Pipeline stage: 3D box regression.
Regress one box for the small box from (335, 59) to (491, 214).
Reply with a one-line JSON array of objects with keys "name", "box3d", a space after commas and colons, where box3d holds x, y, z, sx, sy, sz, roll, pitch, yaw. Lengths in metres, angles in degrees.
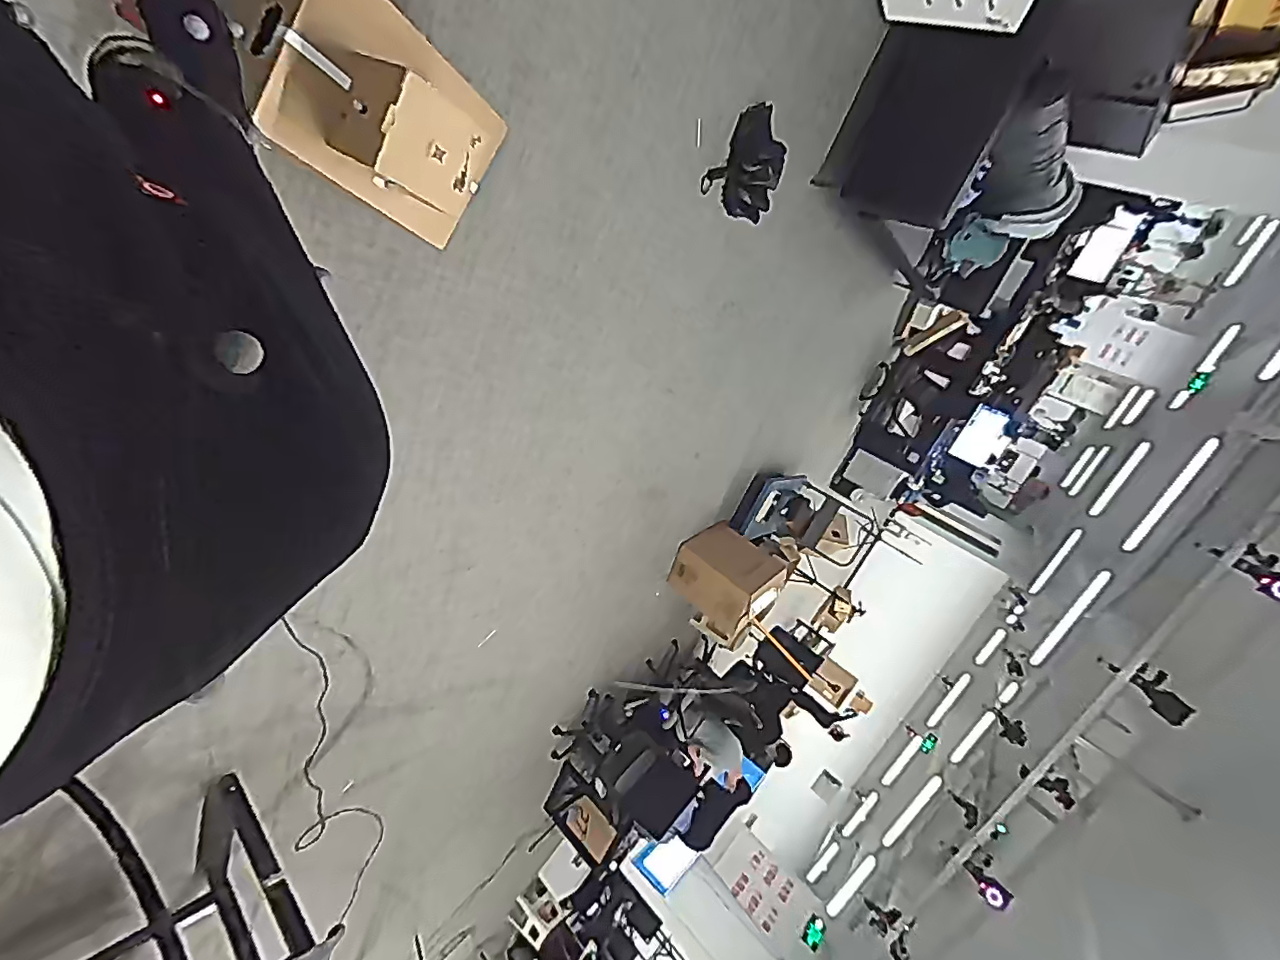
[{"name": "small box", "box3d": [-0.411, -0.617, 0.973, 0.179, 0.176, 0.168, 7, 115, -57]}]
